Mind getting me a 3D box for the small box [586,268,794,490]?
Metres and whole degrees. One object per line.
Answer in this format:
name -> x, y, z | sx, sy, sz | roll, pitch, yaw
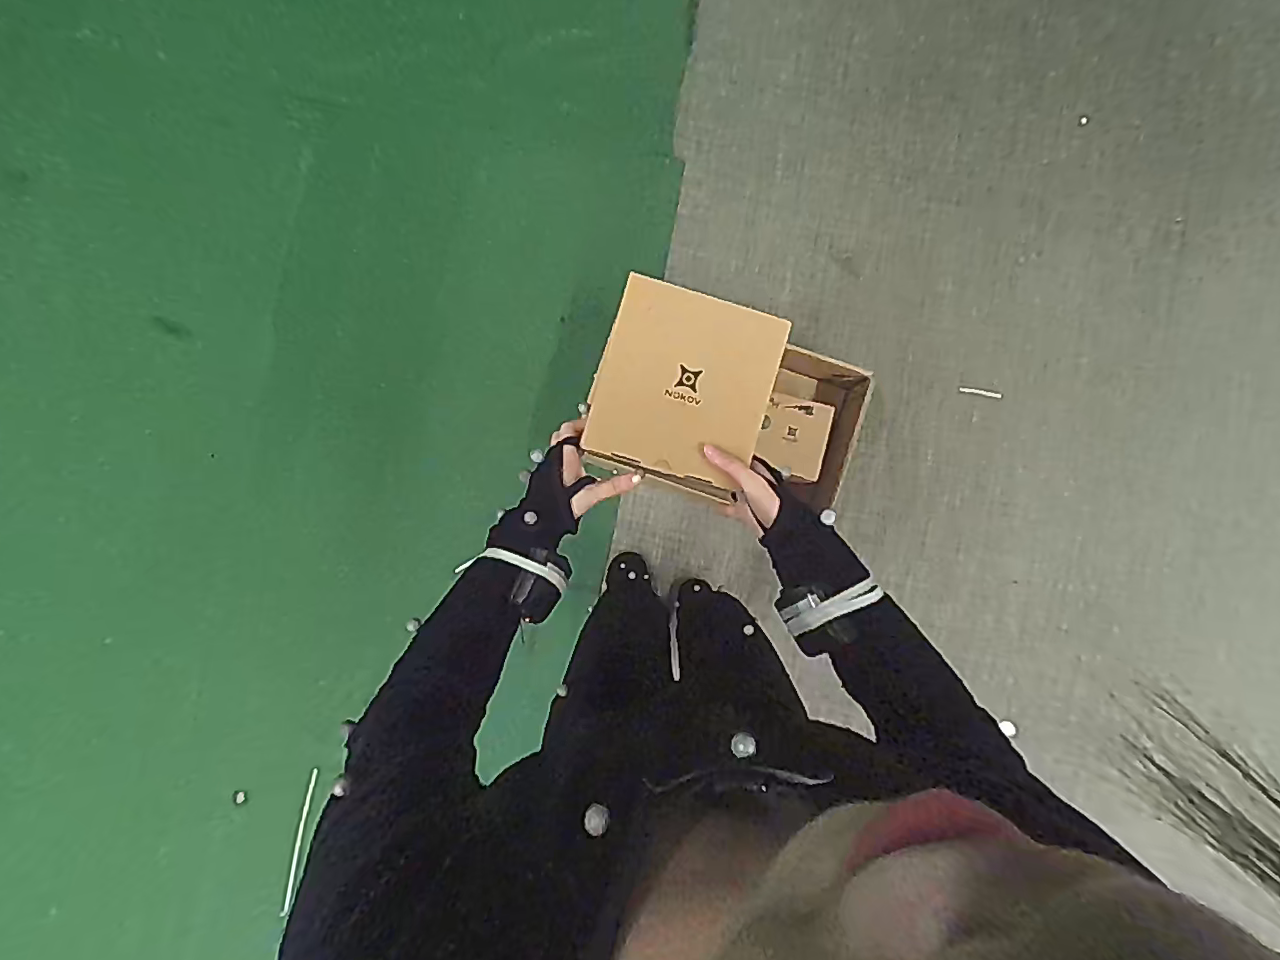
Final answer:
small box -> 0.042, -0.098, 0.593 | 0.168, 0.176, 0.179 | 16, 92, -4
